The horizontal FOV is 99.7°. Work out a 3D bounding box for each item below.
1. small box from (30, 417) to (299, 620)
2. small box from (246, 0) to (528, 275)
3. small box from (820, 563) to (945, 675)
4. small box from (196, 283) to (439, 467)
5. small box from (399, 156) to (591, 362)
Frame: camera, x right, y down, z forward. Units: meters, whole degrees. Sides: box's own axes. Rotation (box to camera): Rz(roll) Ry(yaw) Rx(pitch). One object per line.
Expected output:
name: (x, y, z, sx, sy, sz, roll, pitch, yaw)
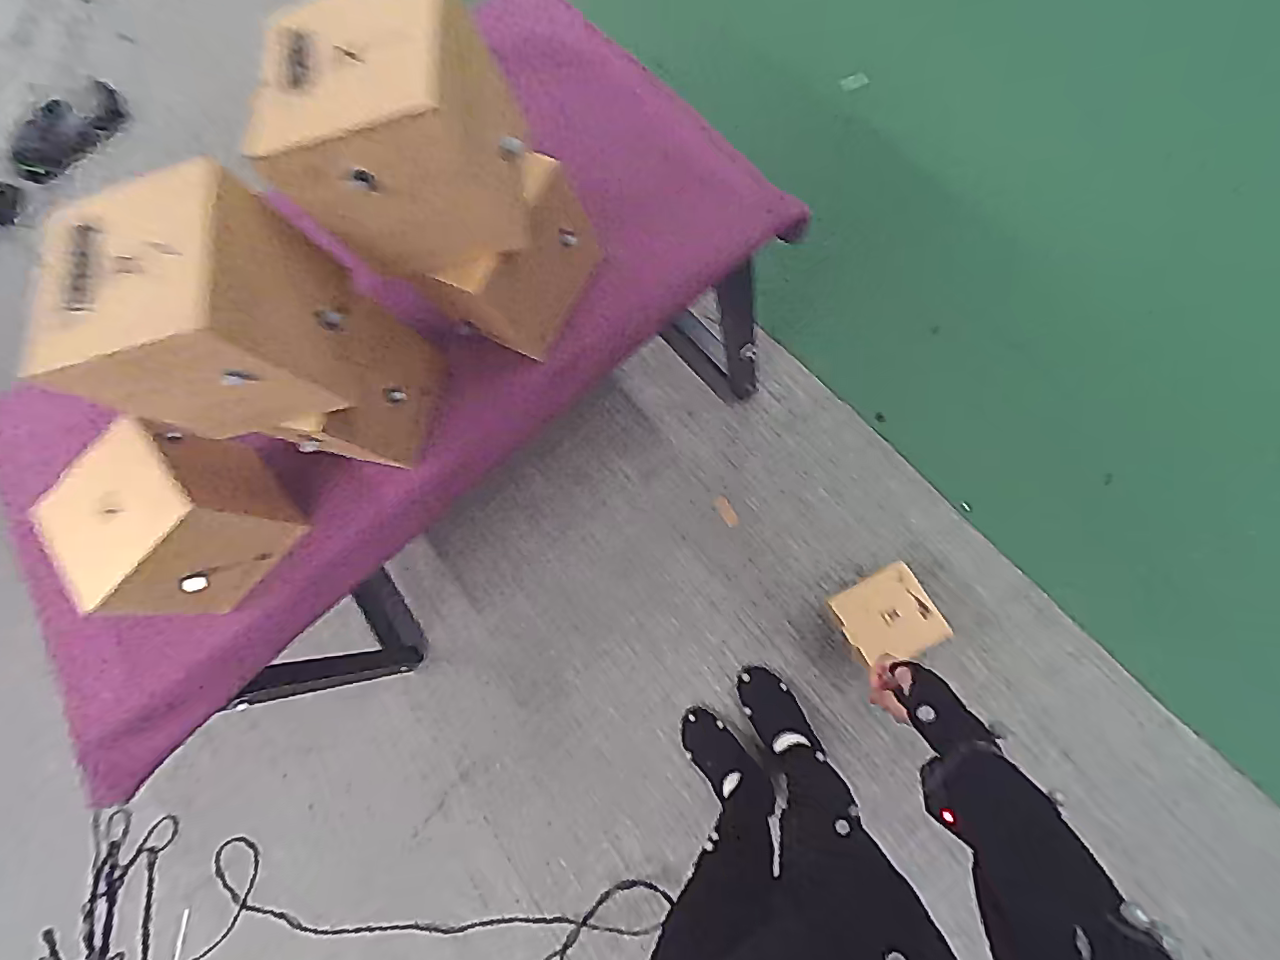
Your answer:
small box: (-0.584, 0.055, 0.685, 0.179, 0.176, 0.168, 43, 89, 19)
small box: (-0.225, -0.324, 0.522, 0.179, 0.176, 0.168, -7, 74, 12)
small box: (0.503, 0.295, 1.158, 0.179, 0.176, 0.168, -30, 74, 5)
small box: (-0.387, -0.121, 0.680, 0.179, 0.176, 0.168, 10, 79, 15)
small box: (-0.180, -0.279, 0.673, 0.168, 0.176, 0.179, 27, 85, 19)
